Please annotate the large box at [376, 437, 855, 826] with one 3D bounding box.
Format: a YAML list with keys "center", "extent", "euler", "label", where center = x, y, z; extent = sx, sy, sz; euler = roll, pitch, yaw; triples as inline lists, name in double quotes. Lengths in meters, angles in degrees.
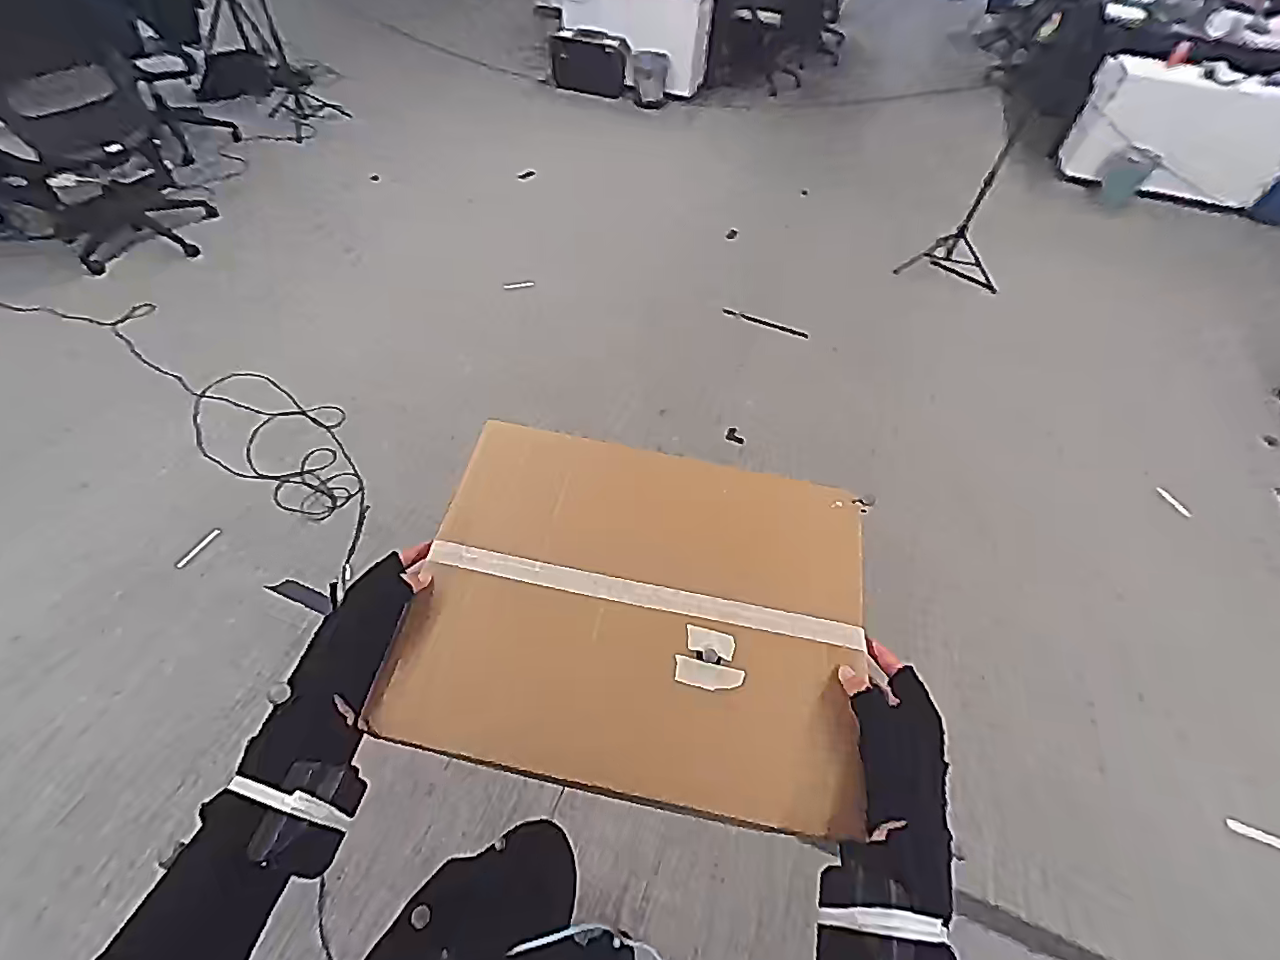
- center: [-0.010, 0.190, 0.639]
  extent: [0.408, 0.320, 0.320]
  euler: [11, 59, 2]
  label: "large box"
